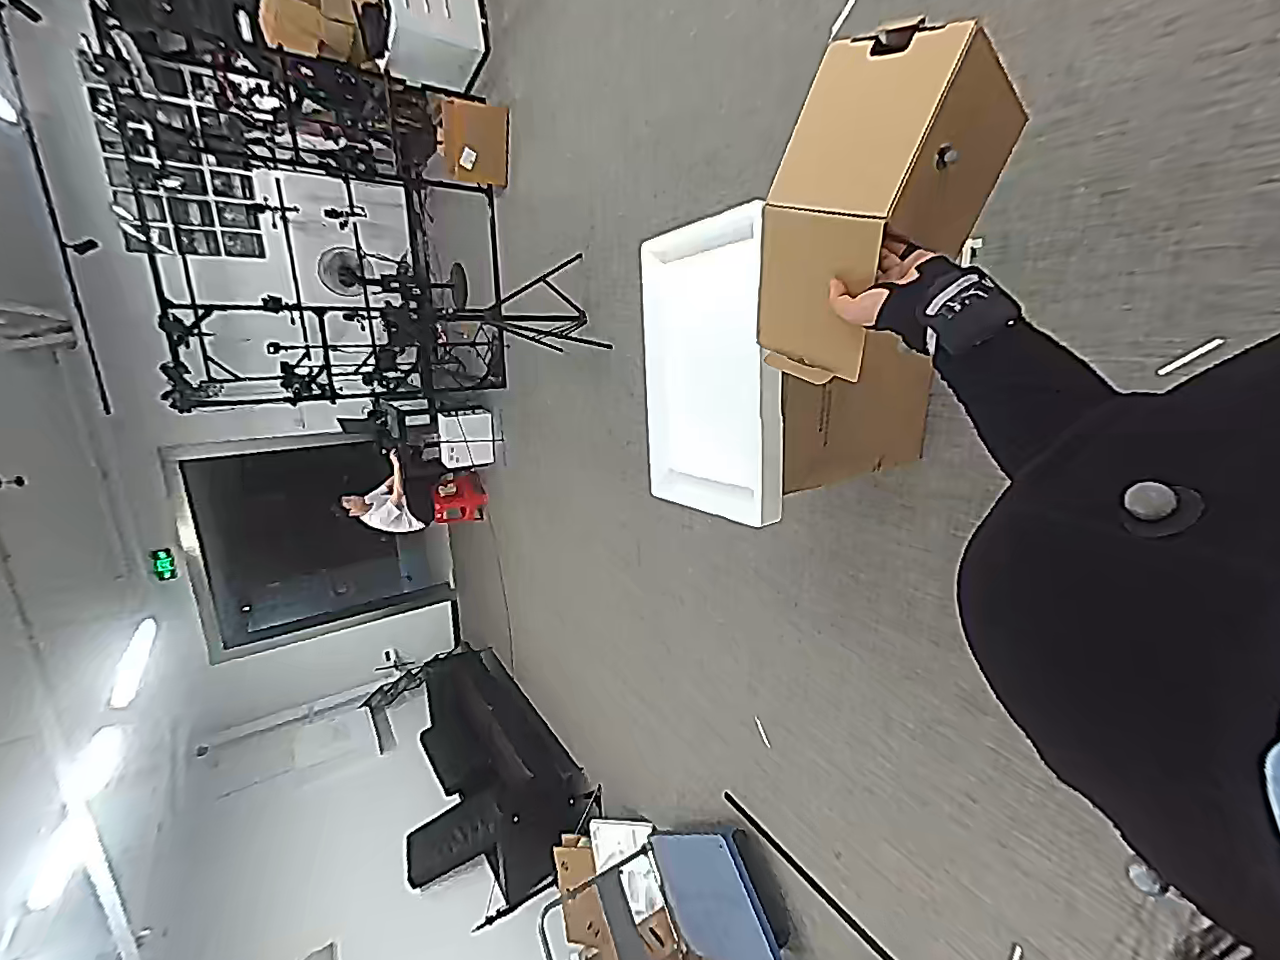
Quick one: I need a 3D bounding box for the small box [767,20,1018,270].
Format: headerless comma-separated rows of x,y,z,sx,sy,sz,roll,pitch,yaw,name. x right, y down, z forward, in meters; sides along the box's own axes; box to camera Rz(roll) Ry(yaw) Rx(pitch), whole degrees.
0.284,-0.358,0.609,0.168,0.176,0.179,38,113,44,small box
